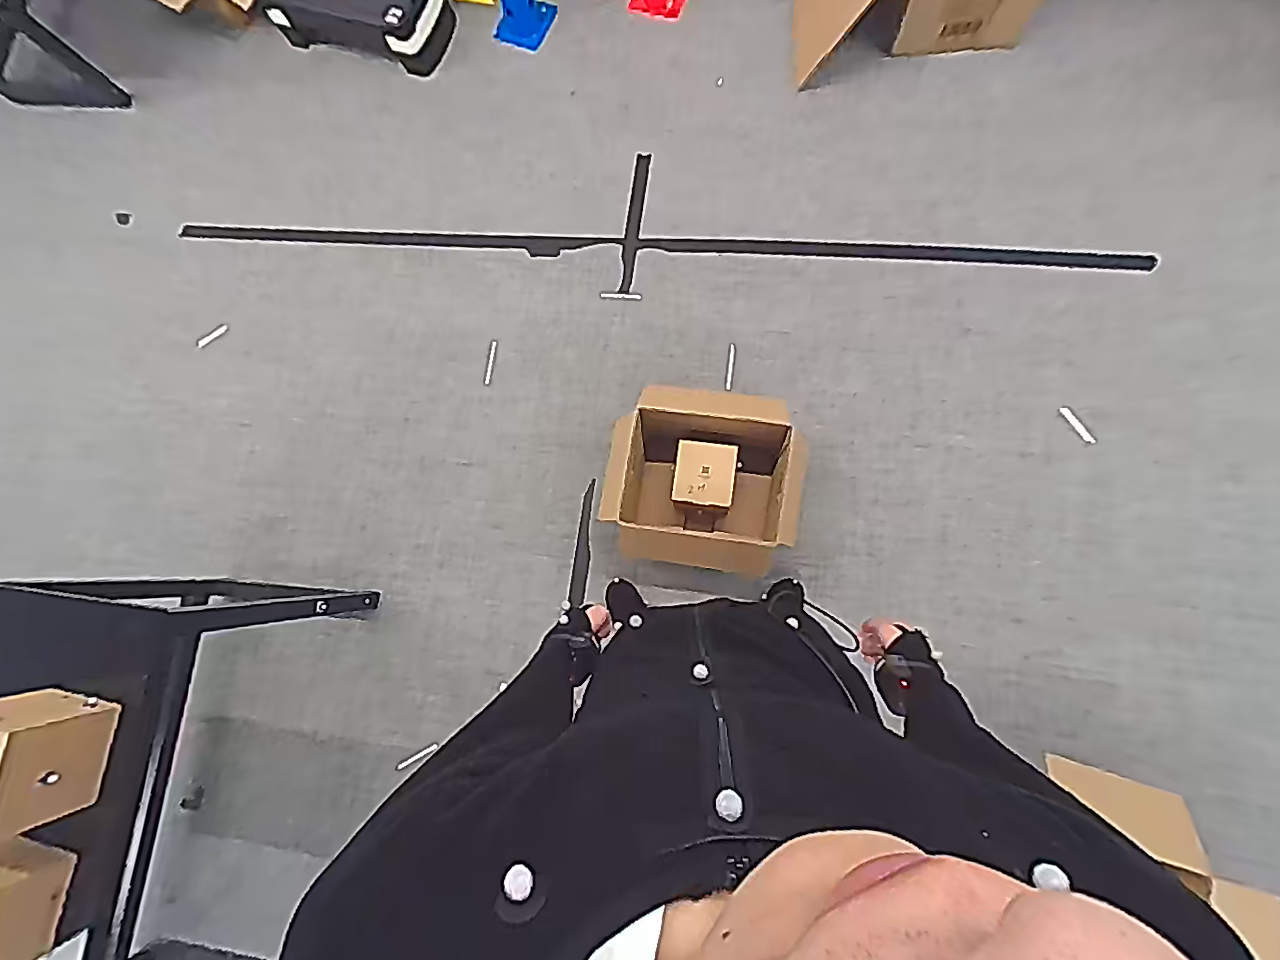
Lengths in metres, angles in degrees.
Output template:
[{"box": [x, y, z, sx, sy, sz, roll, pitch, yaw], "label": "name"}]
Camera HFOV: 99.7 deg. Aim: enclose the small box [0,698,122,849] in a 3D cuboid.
[{"box": [-1.057, 0.492, 0.928, 0.168, 0.176, 0.179, 7, 83, 9], "label": "small box"}]
